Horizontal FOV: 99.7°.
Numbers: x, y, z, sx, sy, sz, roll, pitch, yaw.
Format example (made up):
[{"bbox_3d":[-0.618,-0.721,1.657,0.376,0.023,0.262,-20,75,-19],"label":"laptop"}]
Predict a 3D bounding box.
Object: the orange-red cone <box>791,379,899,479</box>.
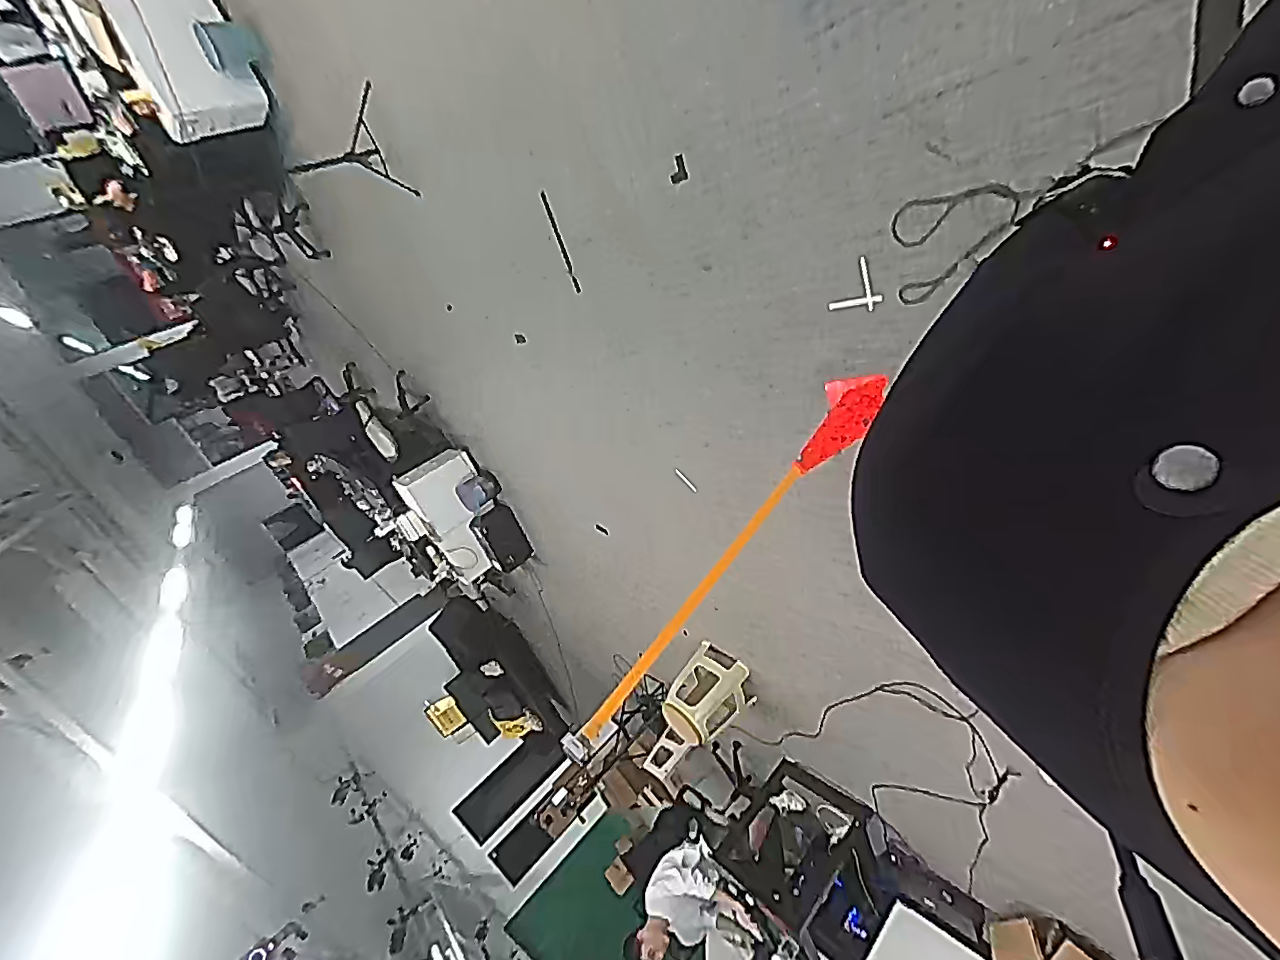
[{"bbox_3d":[0.533,-0.112,1.507,0.199,0.360,0.198,3,125,52],"label":"orange-red cone"}]
